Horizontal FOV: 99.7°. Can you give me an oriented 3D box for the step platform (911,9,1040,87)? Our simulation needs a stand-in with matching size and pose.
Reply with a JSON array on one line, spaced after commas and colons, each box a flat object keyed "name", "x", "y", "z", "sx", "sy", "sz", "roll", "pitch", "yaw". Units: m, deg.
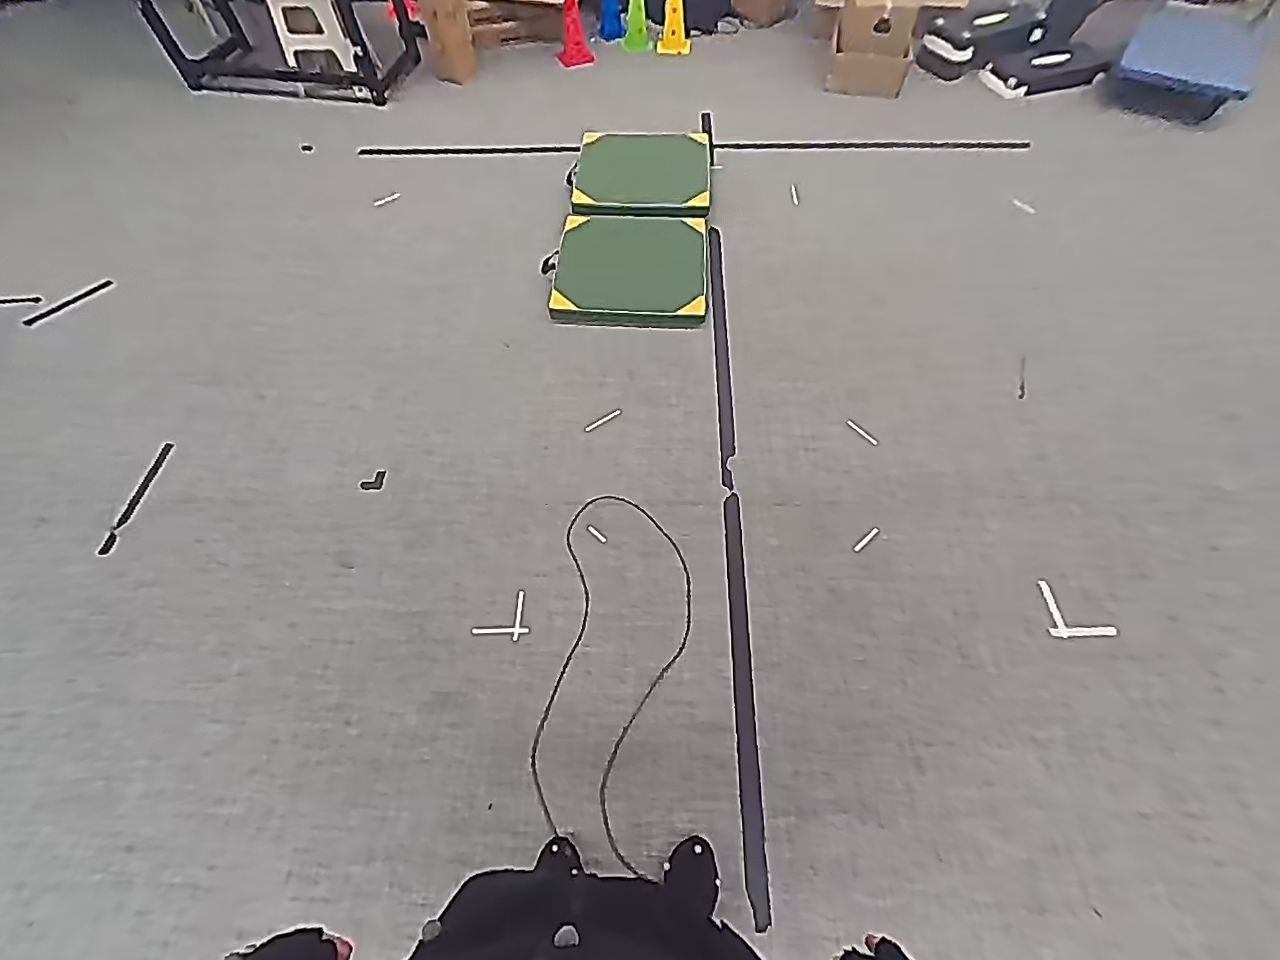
[{"name": "step platform", "x": 1.931, "y": -2.491, "z": 3.109, "sx": 0.684, "sy": 0.204, "sz": 0.286, "roll": -24, "pitch": 62, "yaw": -13}]
